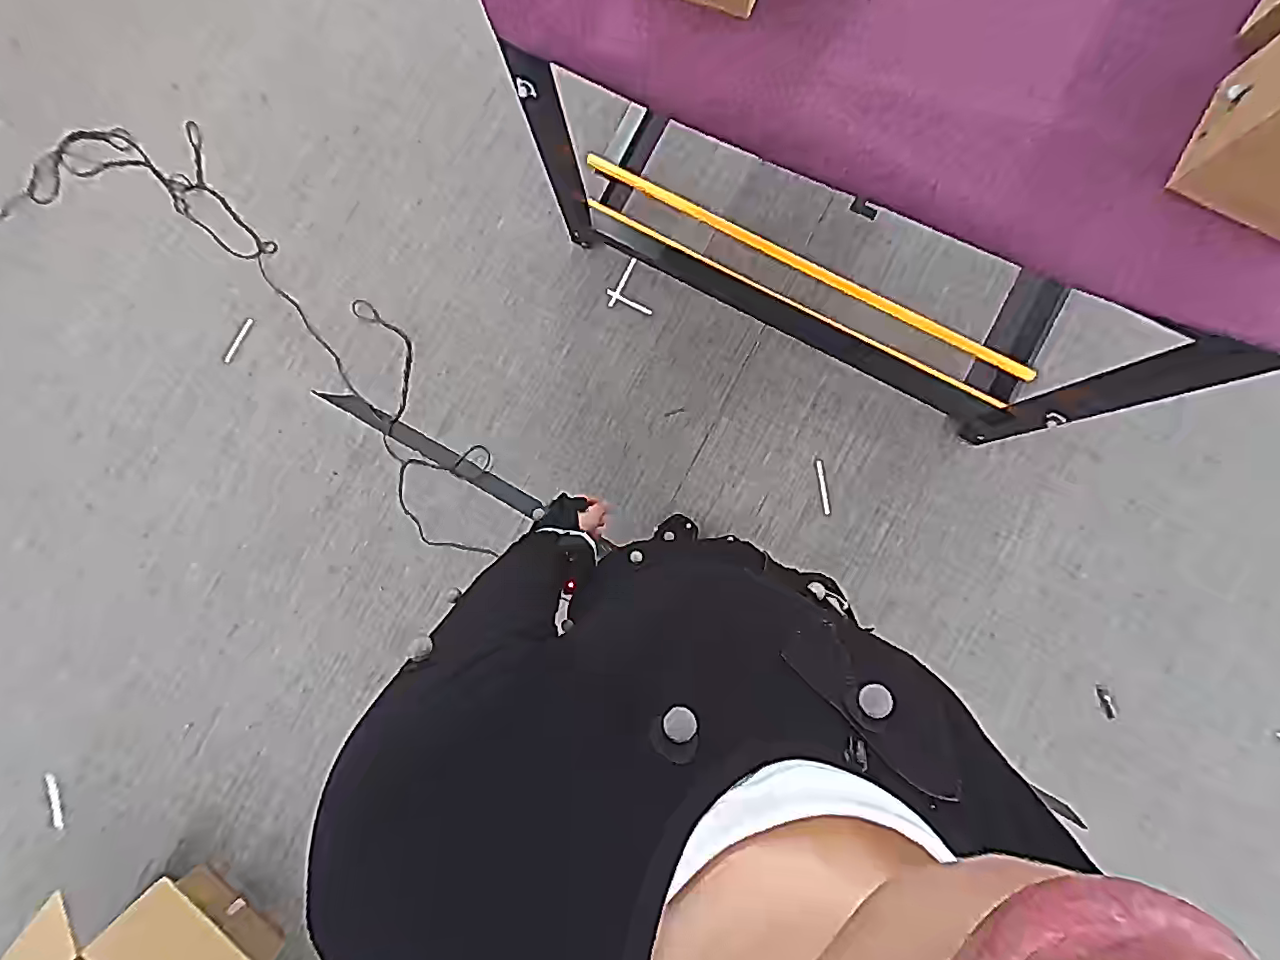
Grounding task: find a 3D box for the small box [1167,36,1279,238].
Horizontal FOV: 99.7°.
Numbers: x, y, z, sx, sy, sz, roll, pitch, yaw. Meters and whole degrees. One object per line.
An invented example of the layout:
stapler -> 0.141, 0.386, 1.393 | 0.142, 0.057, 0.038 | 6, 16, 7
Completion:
small box -> 0.747, -0.393, 0.575 | 0.179, 0.176, 0.168 | 30, 87, 5
